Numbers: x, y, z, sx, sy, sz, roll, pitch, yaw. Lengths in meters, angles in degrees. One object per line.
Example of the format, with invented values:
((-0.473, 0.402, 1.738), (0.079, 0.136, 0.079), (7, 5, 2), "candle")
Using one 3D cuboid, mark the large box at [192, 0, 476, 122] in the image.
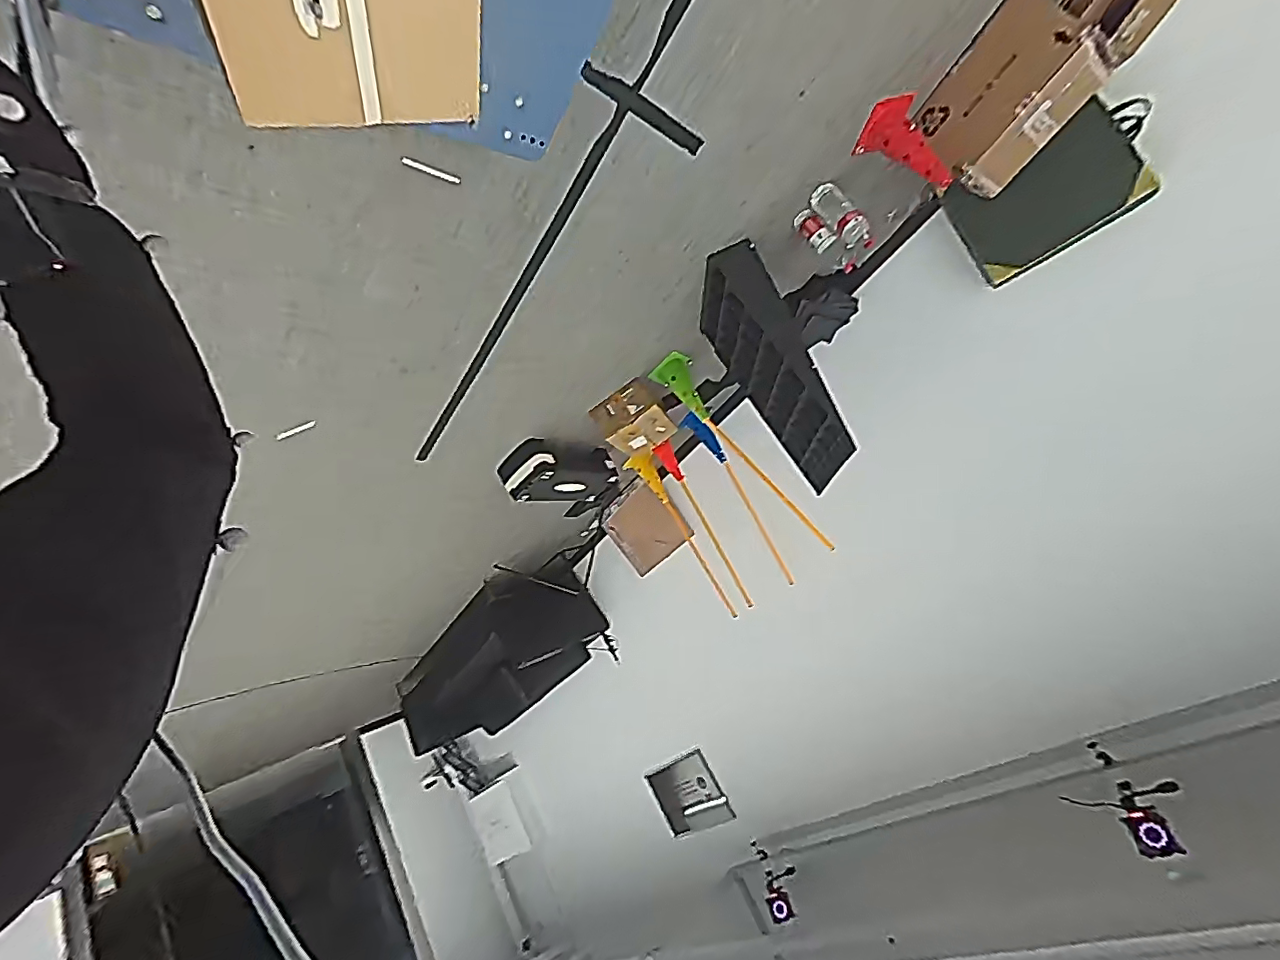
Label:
((-0.404, -0.728, 0.644), (0.320, 0.320, 0.408), (-21, 159, -27), "large box")
